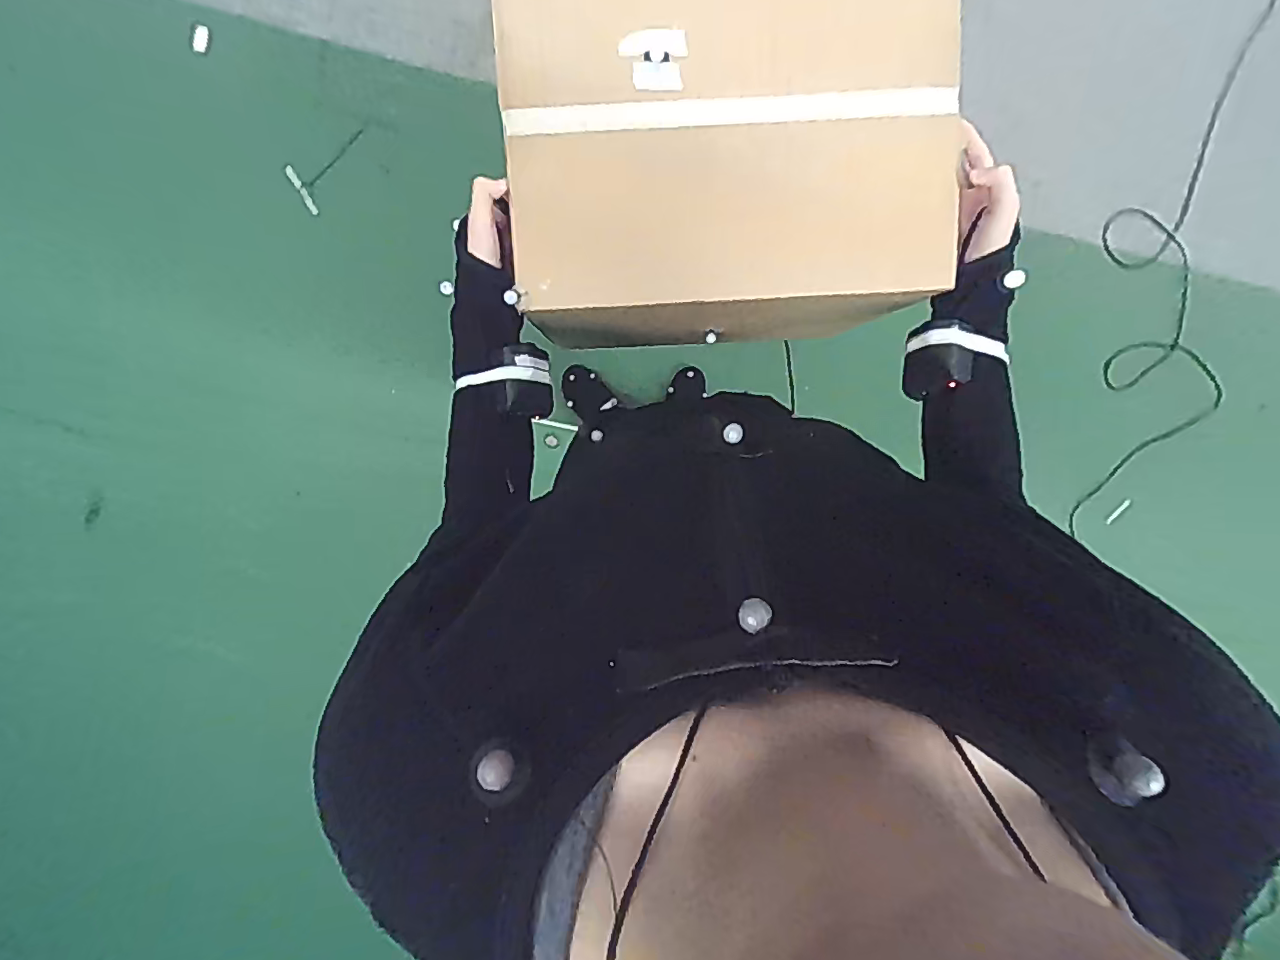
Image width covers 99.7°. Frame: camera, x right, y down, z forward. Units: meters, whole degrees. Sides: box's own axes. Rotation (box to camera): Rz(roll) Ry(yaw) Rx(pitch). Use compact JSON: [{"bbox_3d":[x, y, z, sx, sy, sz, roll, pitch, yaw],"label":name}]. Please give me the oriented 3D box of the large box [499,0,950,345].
[{"bbox_3d":[0.080,-0.339,0.638,0.408,0.320,0.320,-3,97,-1],"label":"large box"}]
